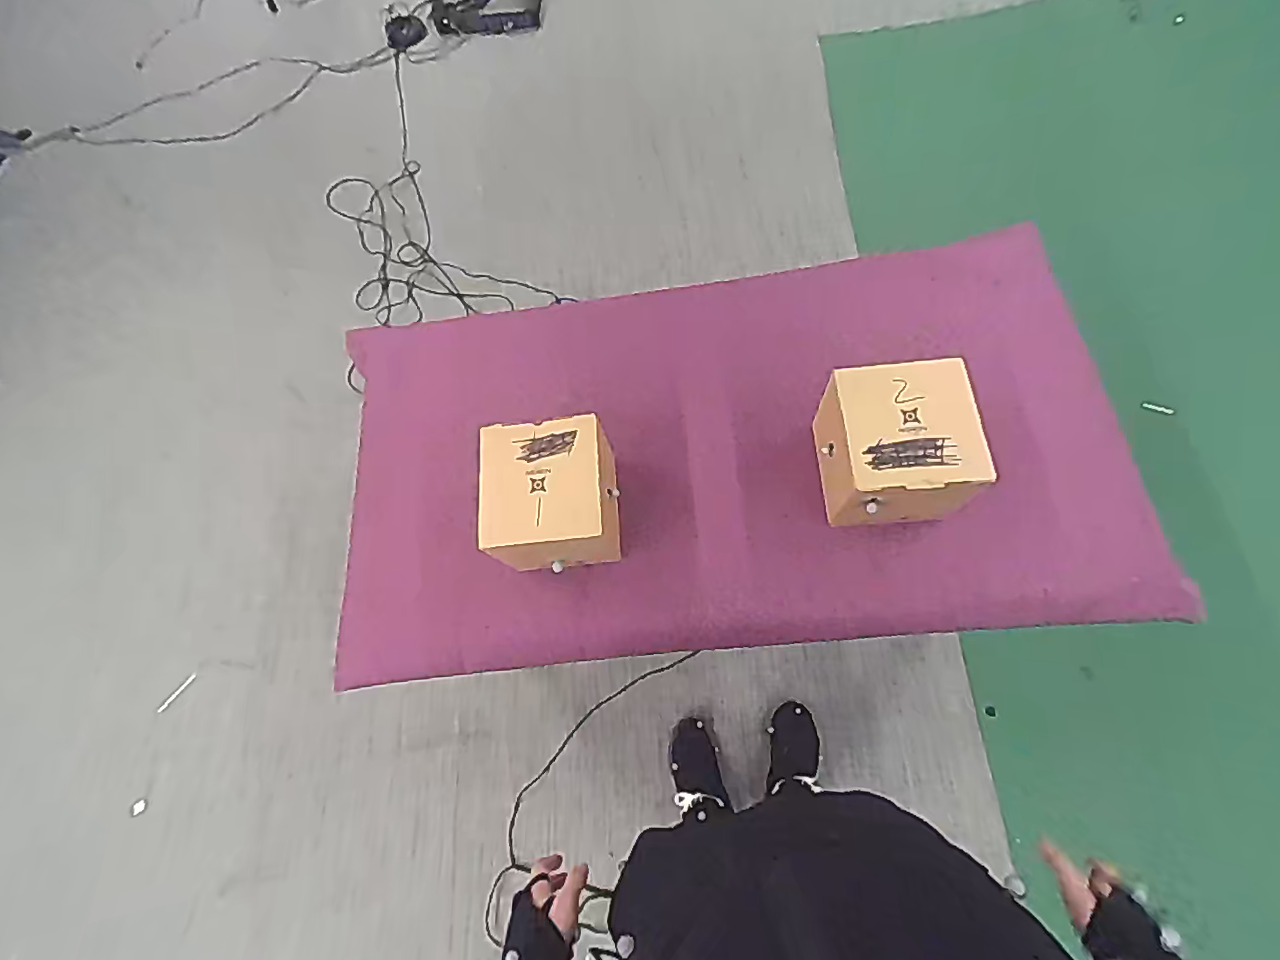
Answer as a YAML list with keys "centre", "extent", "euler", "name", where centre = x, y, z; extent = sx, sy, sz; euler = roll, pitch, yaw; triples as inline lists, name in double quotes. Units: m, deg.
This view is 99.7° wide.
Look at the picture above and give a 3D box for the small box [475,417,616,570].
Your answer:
- centre: [-0.130, 0.027, 0.798]
  extent: [0.168, 0.176, 0.179]
  euler: [-6, 70, 4]
  name: "small box"
